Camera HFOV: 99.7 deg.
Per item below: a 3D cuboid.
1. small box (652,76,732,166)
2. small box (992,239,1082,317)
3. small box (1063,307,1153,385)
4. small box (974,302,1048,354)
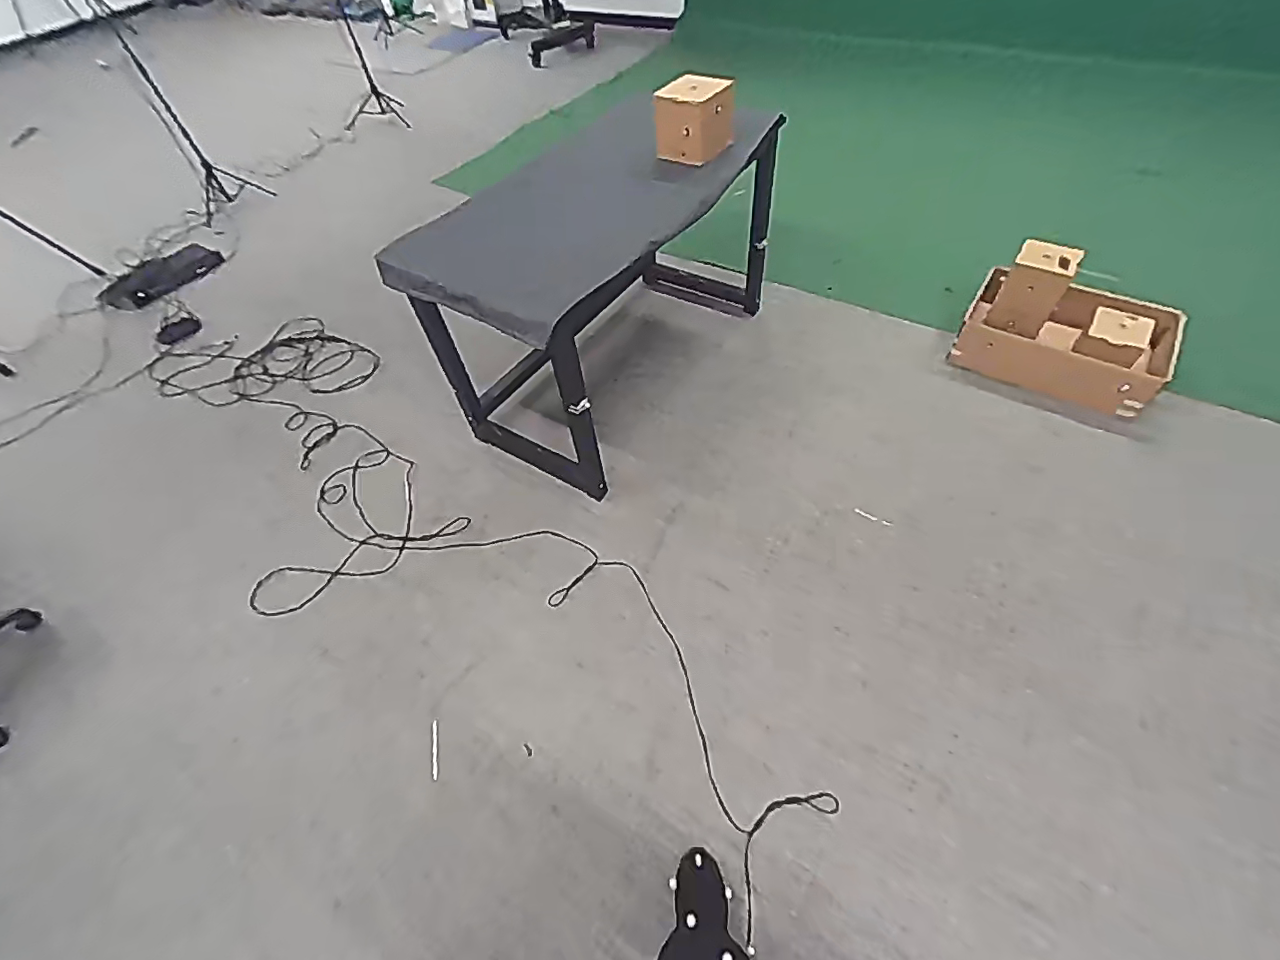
[{"bbox_3d":[0.155,-1.053,1.588,0.168,0.176,0.179,29,60,24],"label":"small box"},{"bbox_3d":[1.344,-0.681,1.837,0.179,0.176,0.168,28,61,24],"label":"small box"},{"bbox_3d":[1.596,-0.456,1.854,0.168,0.176,0.179,29,62,25],"label":"small box"},{"bbox_3d":[1.358,-0.587,1.971,0.179,0.176,0.168,28,62,22],"label":"small box"}]
